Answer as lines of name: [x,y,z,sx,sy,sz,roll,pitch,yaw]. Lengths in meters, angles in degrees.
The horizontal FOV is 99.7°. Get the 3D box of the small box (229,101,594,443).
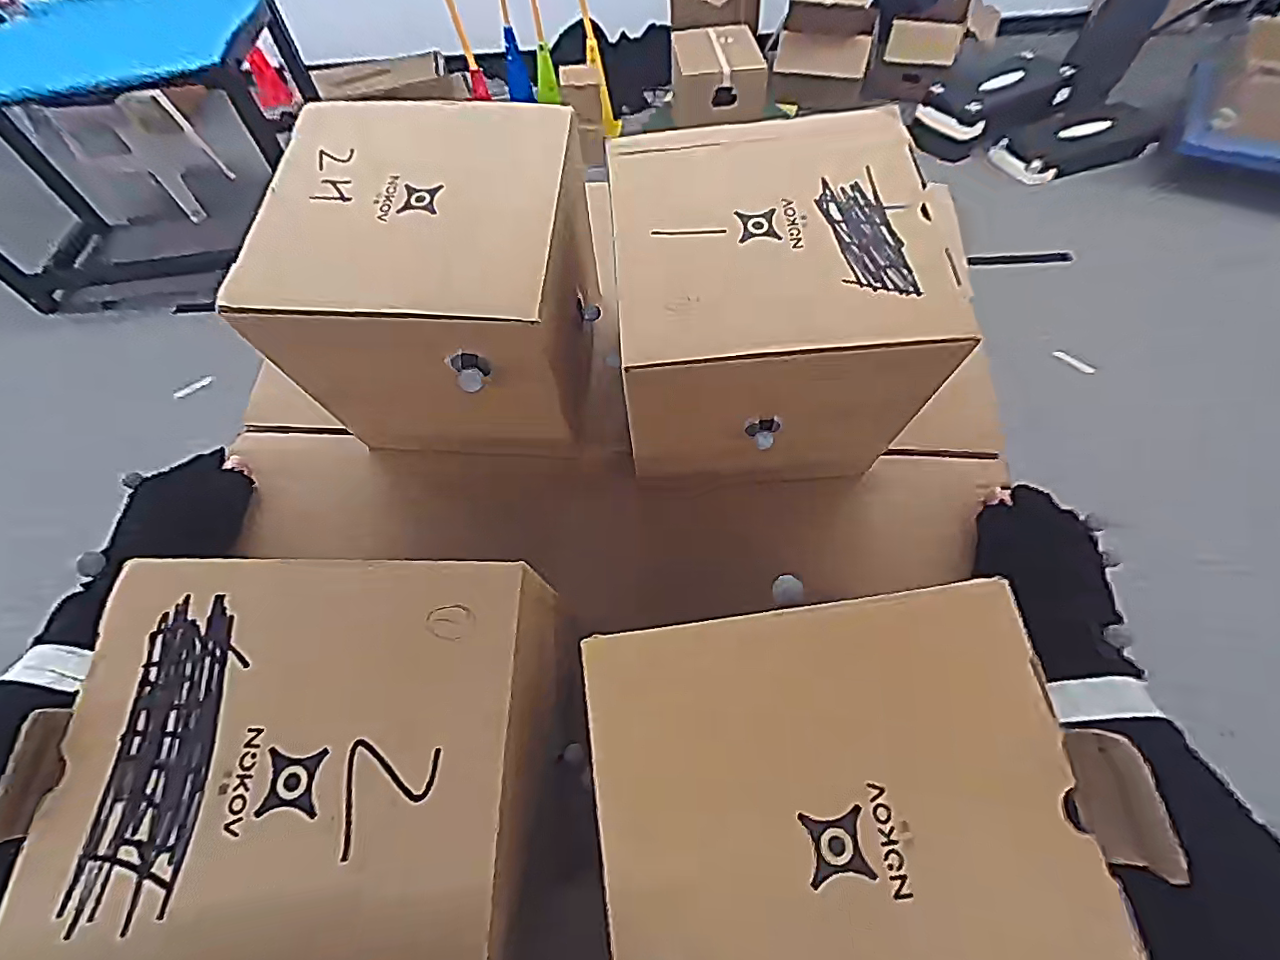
small box: [-0.133,-0.137,0.397,0.179,0.176,0.168,4,67,4]
